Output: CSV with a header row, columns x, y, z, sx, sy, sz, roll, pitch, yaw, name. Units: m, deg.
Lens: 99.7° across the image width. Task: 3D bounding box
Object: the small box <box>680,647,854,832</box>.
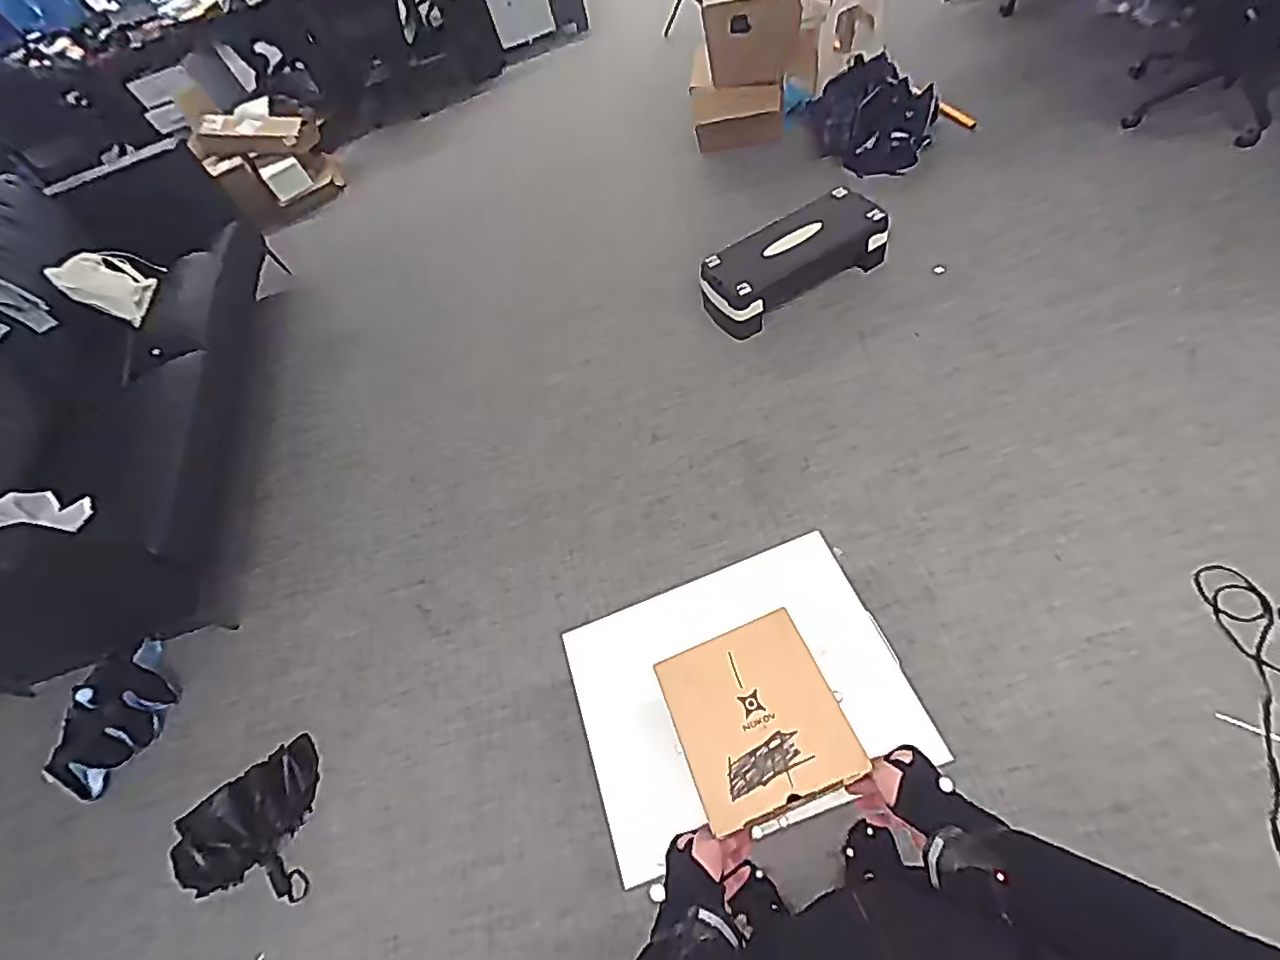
x,y,z,sx,sy,sz,roll,pitch,yaw,name
0.172,0.368,0.760,0.168,0.176,0.179,-25,56,-1,small box
